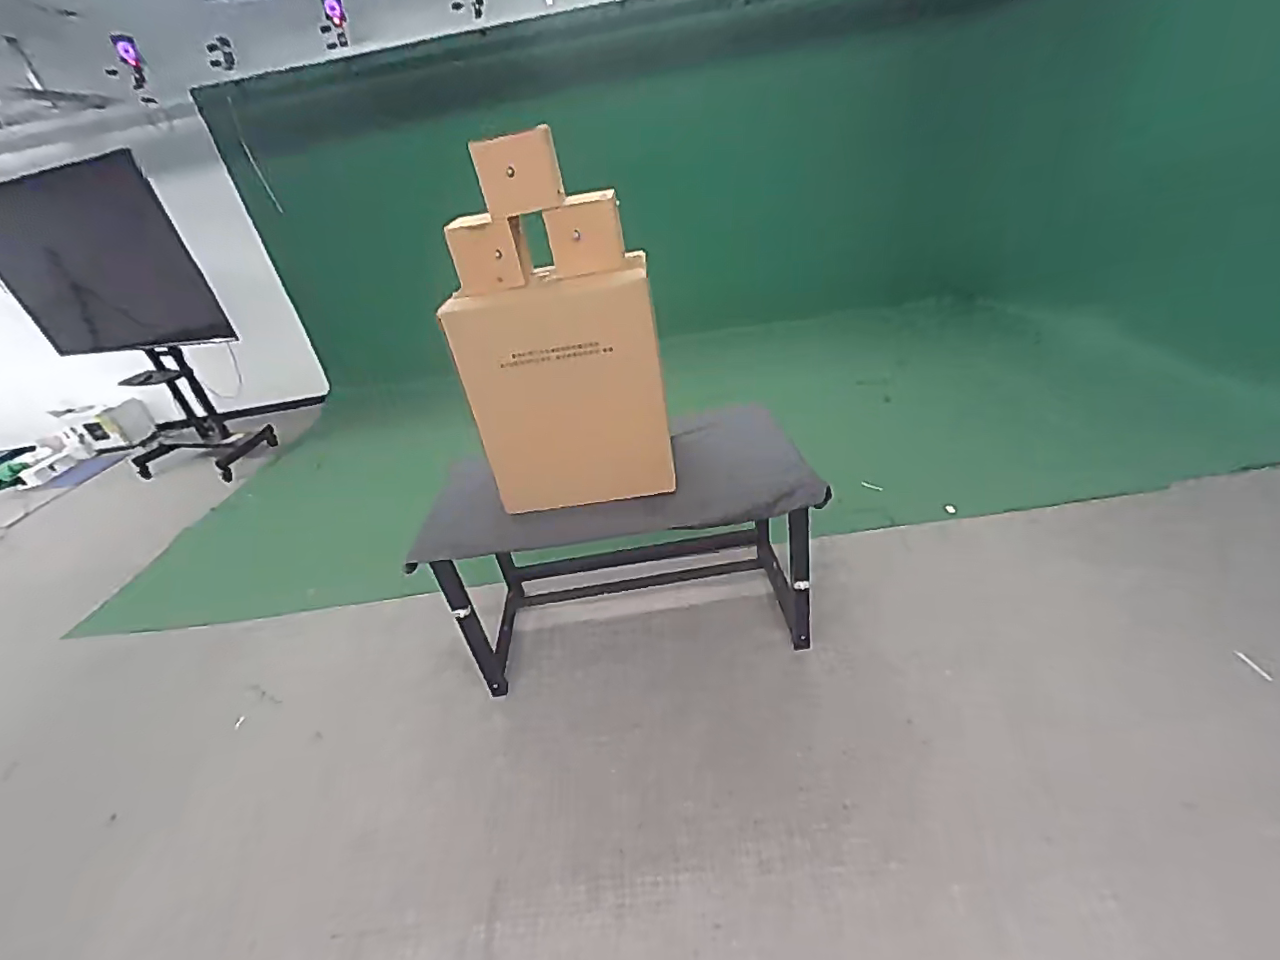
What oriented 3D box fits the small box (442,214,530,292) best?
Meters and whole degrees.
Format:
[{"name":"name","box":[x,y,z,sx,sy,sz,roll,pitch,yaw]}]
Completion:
[{"name":"small box","box":[-0.398,-0.605,1.433,0.168,0.176,0.179,-7,32,2]}]

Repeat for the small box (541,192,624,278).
[{"name":"small box","box":[-0.144,-0.640,1.418,0.179,0.176,0.168,-8,34,5]}]

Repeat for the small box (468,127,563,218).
[{"name":"small box","box":[-0.296,-0.759,1.337,0.179,0.176,0.168,-9,33,4]}]
